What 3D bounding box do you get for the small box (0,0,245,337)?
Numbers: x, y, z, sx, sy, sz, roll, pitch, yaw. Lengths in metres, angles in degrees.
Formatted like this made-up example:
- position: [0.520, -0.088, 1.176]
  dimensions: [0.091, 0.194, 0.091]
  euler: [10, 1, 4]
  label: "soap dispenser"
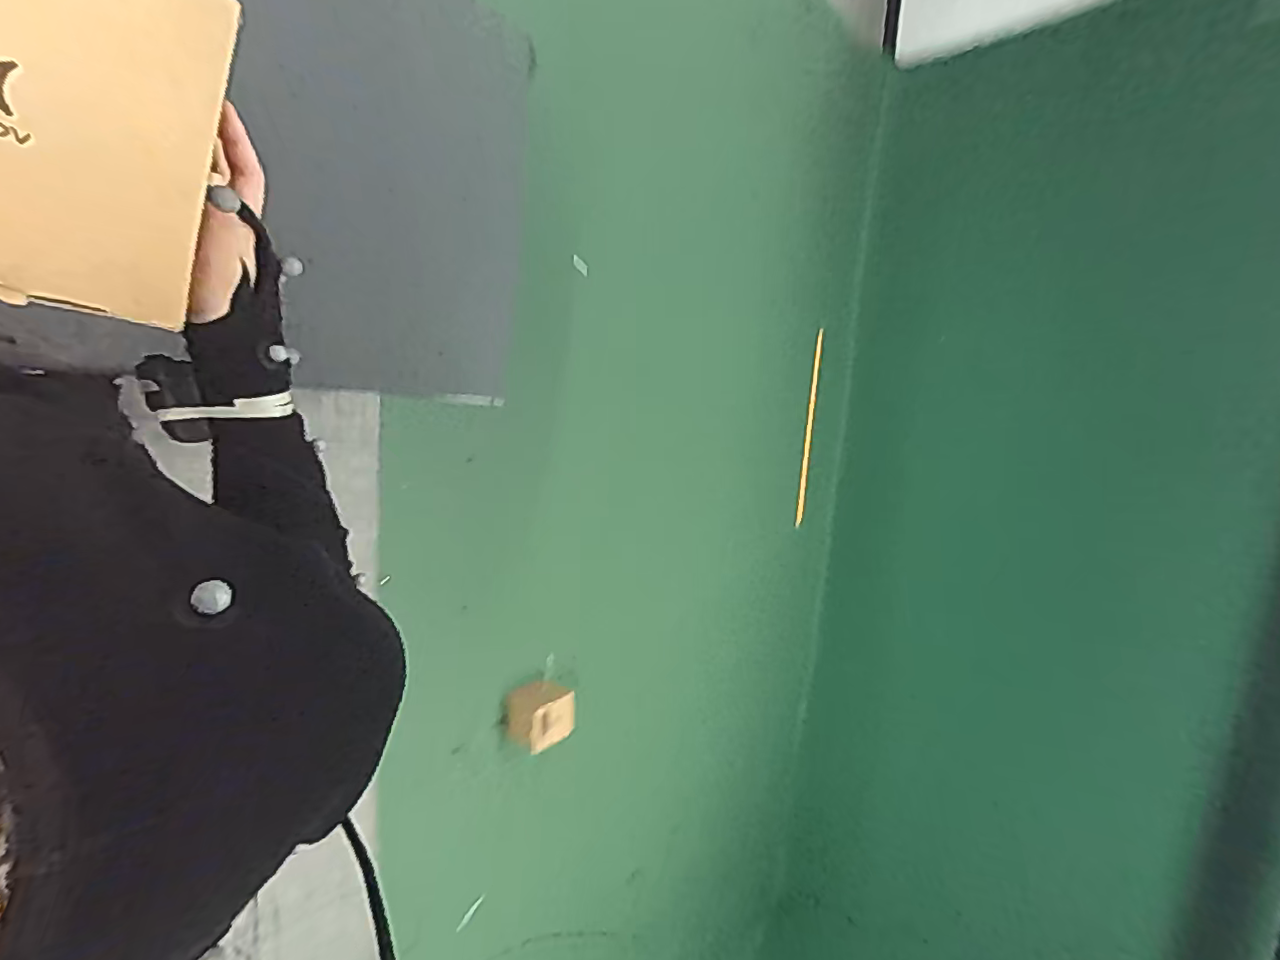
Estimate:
- position: [-0.340, -0.204, 0.289]
  dimensions: [0.168, 0.176, 0.179]
  euler: [11, 108, -46]
  label: "small box"
